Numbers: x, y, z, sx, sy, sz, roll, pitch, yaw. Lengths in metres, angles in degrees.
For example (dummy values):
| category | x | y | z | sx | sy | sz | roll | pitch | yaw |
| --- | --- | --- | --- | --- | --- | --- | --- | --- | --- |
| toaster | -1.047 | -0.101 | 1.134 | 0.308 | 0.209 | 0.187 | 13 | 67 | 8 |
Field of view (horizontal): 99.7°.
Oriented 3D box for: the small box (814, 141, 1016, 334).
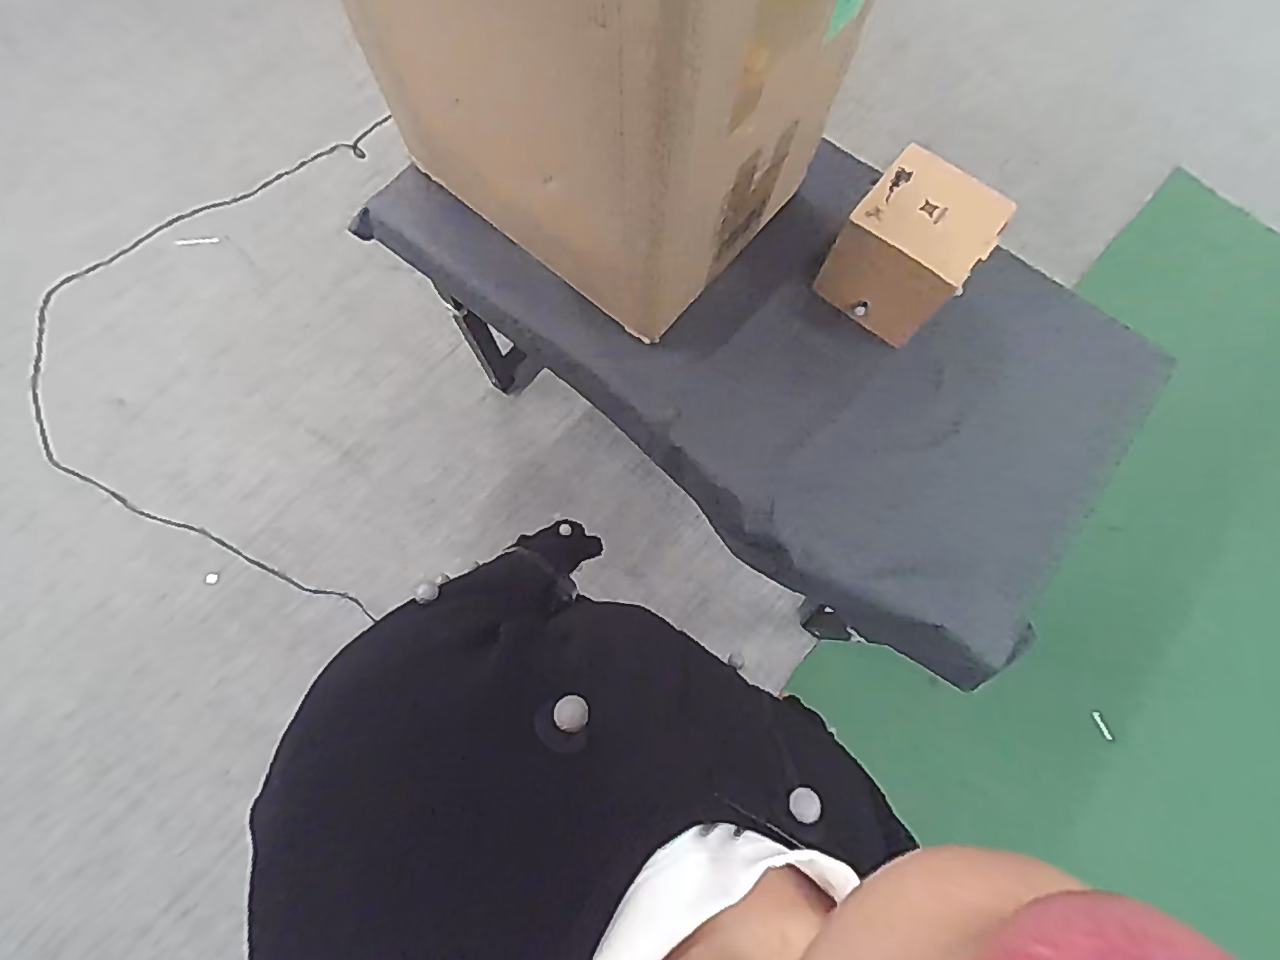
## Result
| category | x | y | z | sx | sy | sz | roll | pitch | yaw |
| --- | --- | --- | --- | --- | --- | --- | --- | --- | --- |
| small box | 0.400 | -0.349 | 0.816 | 0.179 | 0.176 | 0.168 | 39 | 78 | 7 |
